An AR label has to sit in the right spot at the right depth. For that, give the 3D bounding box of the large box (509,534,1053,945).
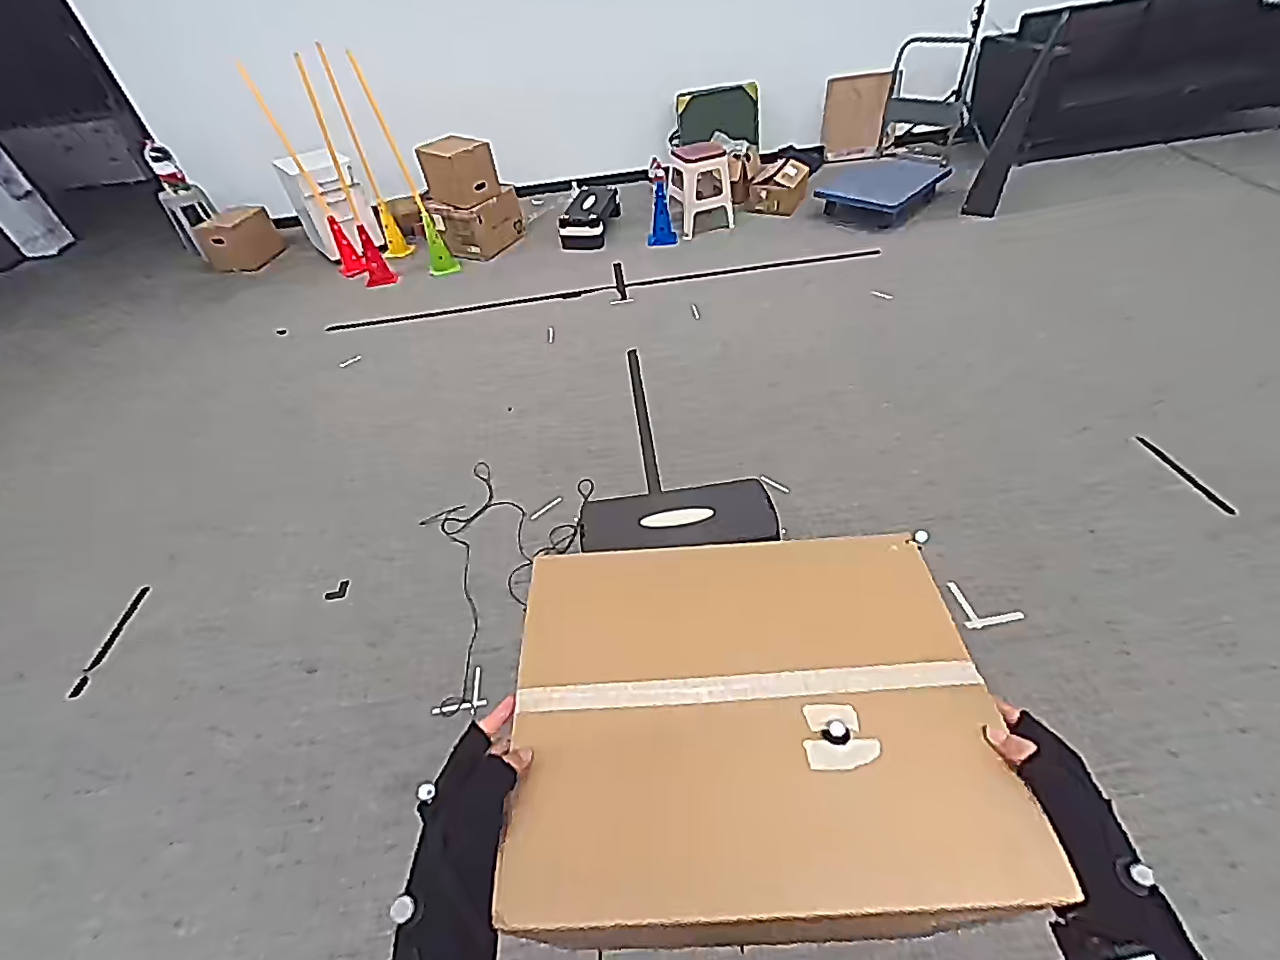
[{"bbox_3d":[0.101,0.287,0.596,0.408,0.320,0.320,-4,47,1],"label":"large box"}]
